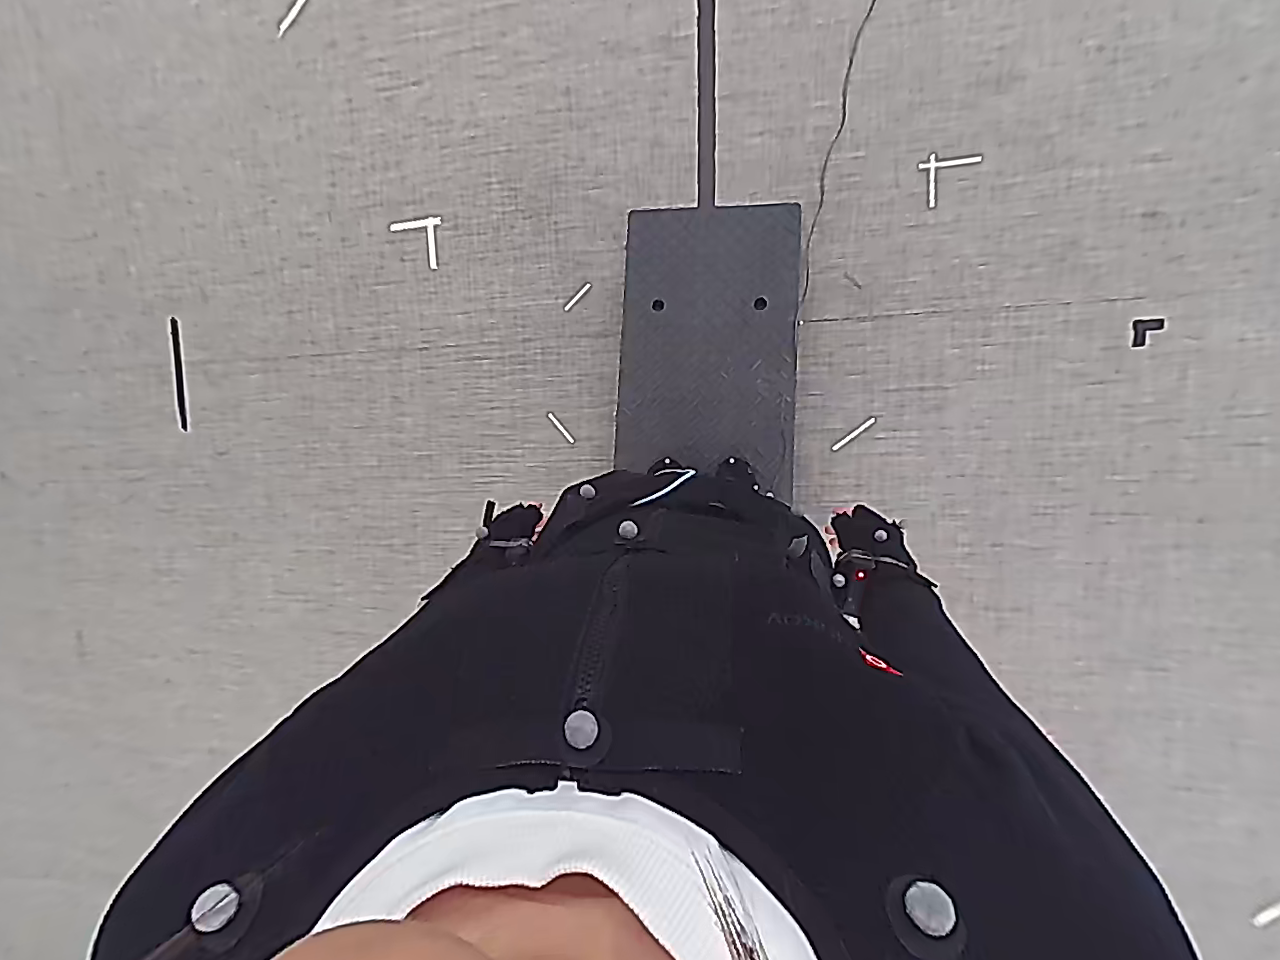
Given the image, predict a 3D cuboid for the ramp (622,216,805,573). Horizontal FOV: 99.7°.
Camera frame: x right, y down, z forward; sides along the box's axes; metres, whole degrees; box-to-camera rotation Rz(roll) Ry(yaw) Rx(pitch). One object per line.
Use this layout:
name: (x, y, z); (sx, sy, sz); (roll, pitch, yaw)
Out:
ramp: (0.203, -0.253, 1.510); (0.509, 0.206, 0.991); (-1, 92, 12)
